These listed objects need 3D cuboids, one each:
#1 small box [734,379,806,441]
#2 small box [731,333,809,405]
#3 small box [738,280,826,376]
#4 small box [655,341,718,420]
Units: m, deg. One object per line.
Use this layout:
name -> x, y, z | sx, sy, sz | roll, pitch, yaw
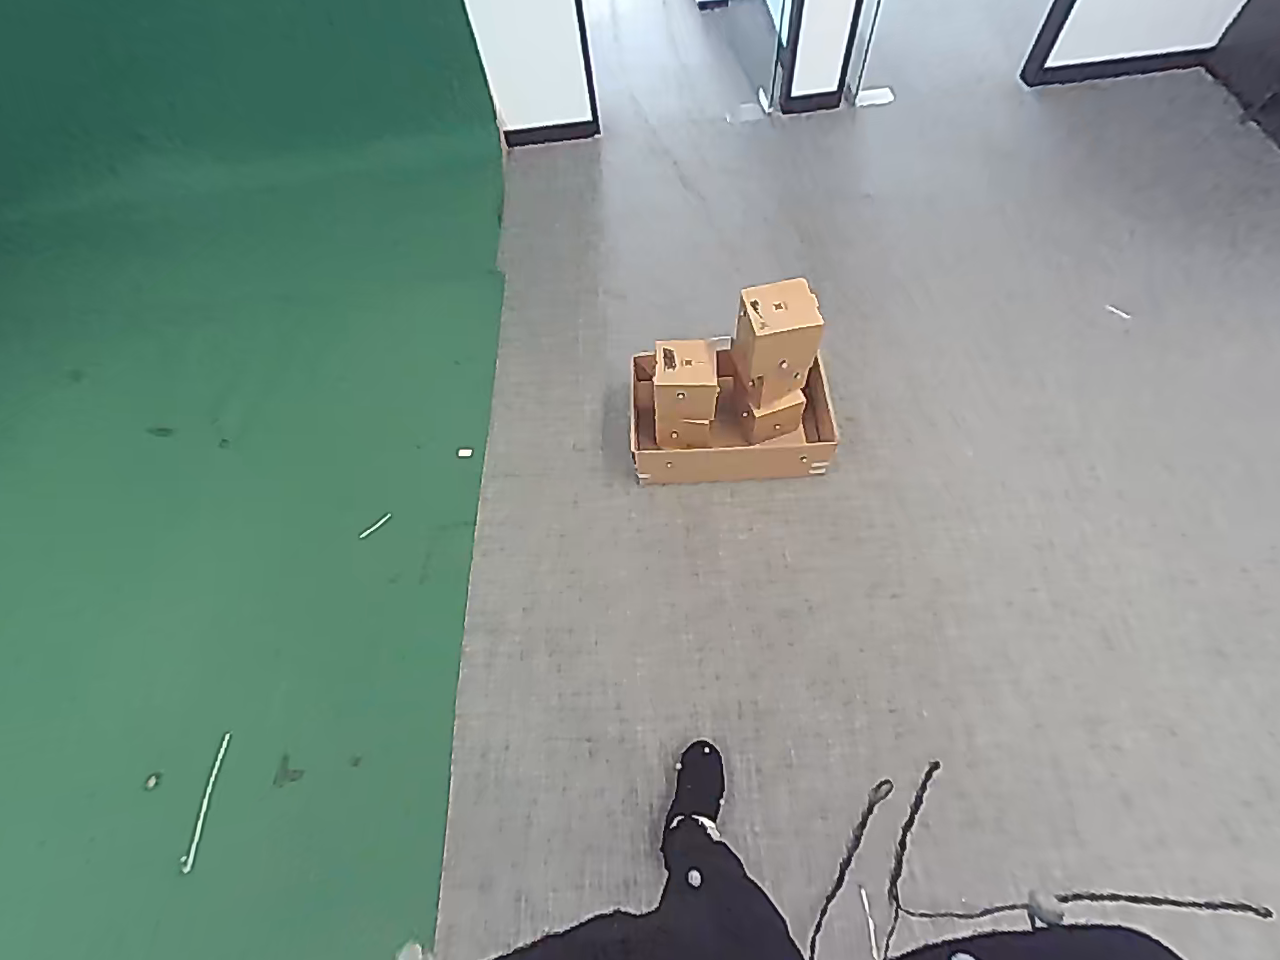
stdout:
small box -> 0.407, -0.242, 1.721 | 0.168, 0.176, 0.179 | -18, 61, -3
small box -> 0.383, -0.346, 1.593 | 0.168, 0.176, 0.179 | -27, 62, -9
small box -> 0.368, -0.399, 1.437 | 0.179, 0.176, 0.168 | -10, 62, 0
small box -> 0.137, -0.289, 1.584 | 0.179, 0.176, 0.168 | 1, 61, 4
